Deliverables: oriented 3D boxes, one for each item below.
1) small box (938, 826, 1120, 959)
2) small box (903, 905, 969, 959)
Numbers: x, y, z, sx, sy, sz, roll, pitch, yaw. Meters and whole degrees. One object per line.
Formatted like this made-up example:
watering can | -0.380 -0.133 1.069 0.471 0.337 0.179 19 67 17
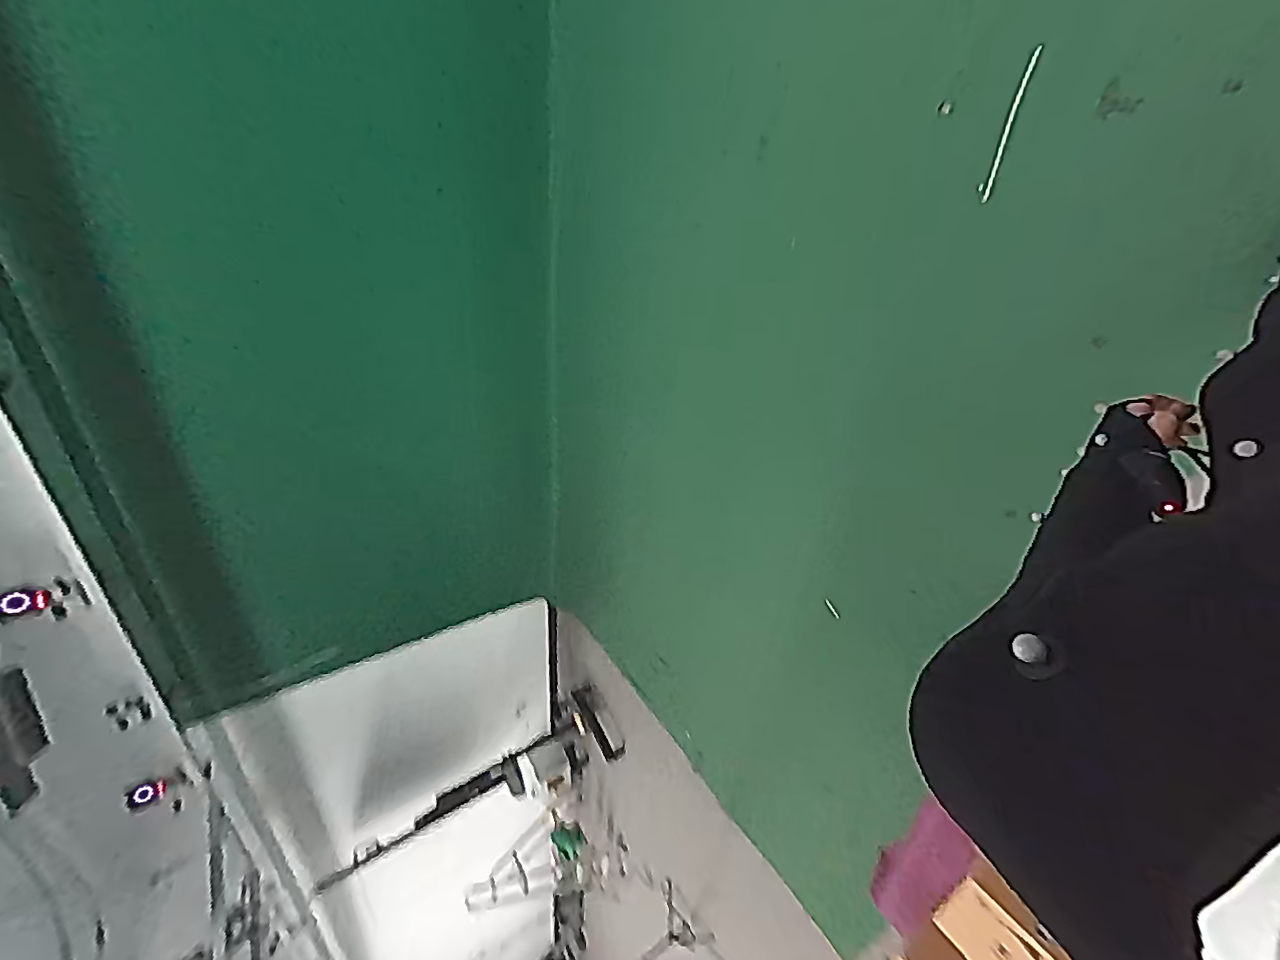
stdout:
small box | 0.641 0.730 0.896 0.168 0.176 0.179 38 136 41
small box | 0.610 1.001 1.060 0.168 0.176 0.179 34 129 42
